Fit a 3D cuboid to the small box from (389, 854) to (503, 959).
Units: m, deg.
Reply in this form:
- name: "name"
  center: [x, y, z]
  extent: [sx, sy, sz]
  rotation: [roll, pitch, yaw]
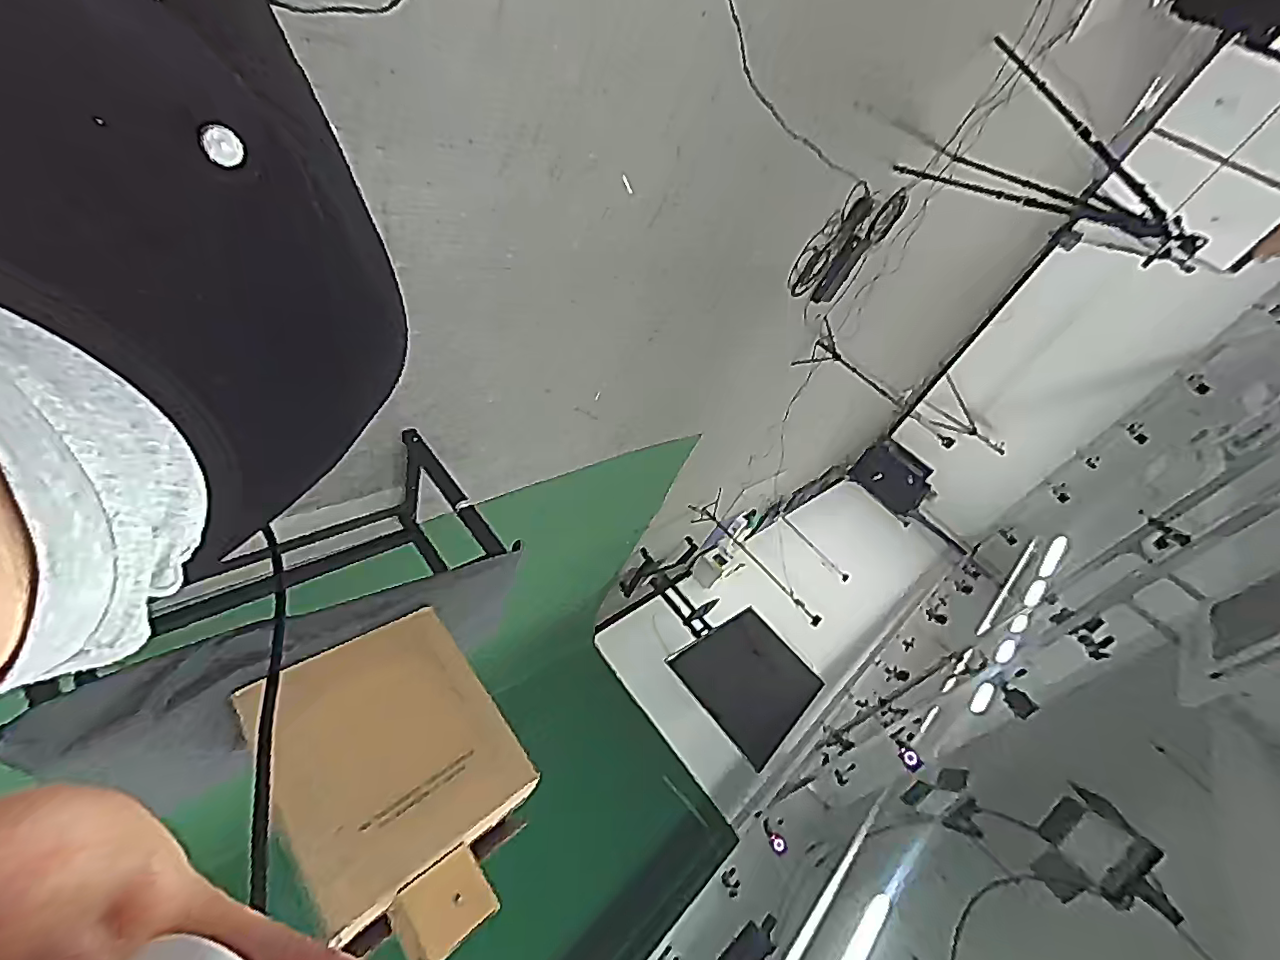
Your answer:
- name: "small box"
  center: [-0.466, 1.047, 1.292]
  extent: [0.179, 0.176, 0.168]
  rotation: [-16, 145, -48]
